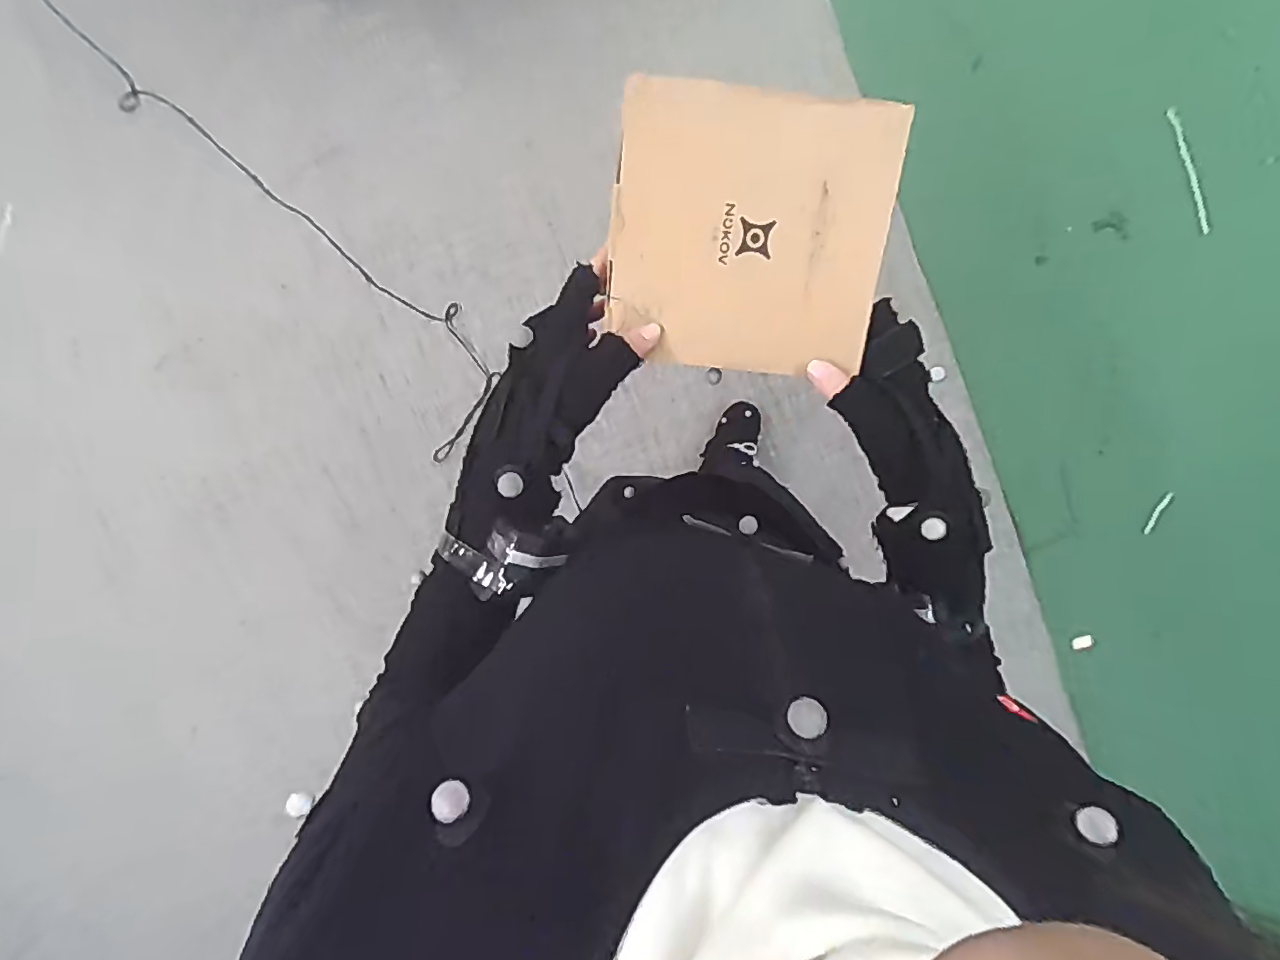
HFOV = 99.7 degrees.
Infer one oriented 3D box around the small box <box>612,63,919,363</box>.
[{"bbox_3d":[0.074,-0.185,0.417,0.179,0.176,0.168,3,108,-1],"label":"small box"}]
